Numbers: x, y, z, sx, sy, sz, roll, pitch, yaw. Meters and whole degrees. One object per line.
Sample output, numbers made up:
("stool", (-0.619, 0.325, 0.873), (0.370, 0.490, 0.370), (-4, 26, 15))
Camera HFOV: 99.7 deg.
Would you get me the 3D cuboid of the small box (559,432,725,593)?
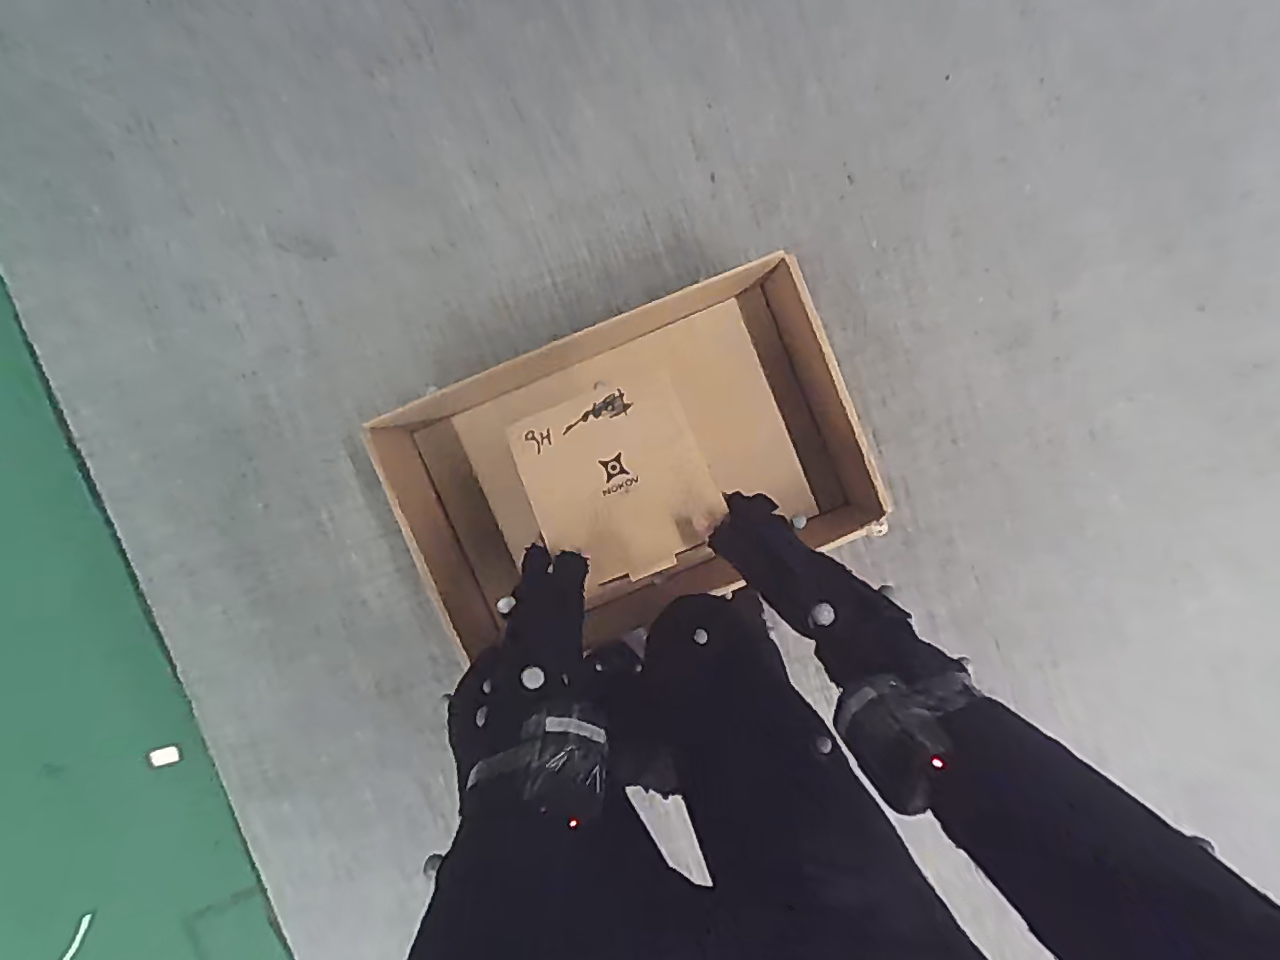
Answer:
("small box", (0.000, 0.037, 0.781), (0.179, 0.176, 0.168), (-23, 93, 0))
